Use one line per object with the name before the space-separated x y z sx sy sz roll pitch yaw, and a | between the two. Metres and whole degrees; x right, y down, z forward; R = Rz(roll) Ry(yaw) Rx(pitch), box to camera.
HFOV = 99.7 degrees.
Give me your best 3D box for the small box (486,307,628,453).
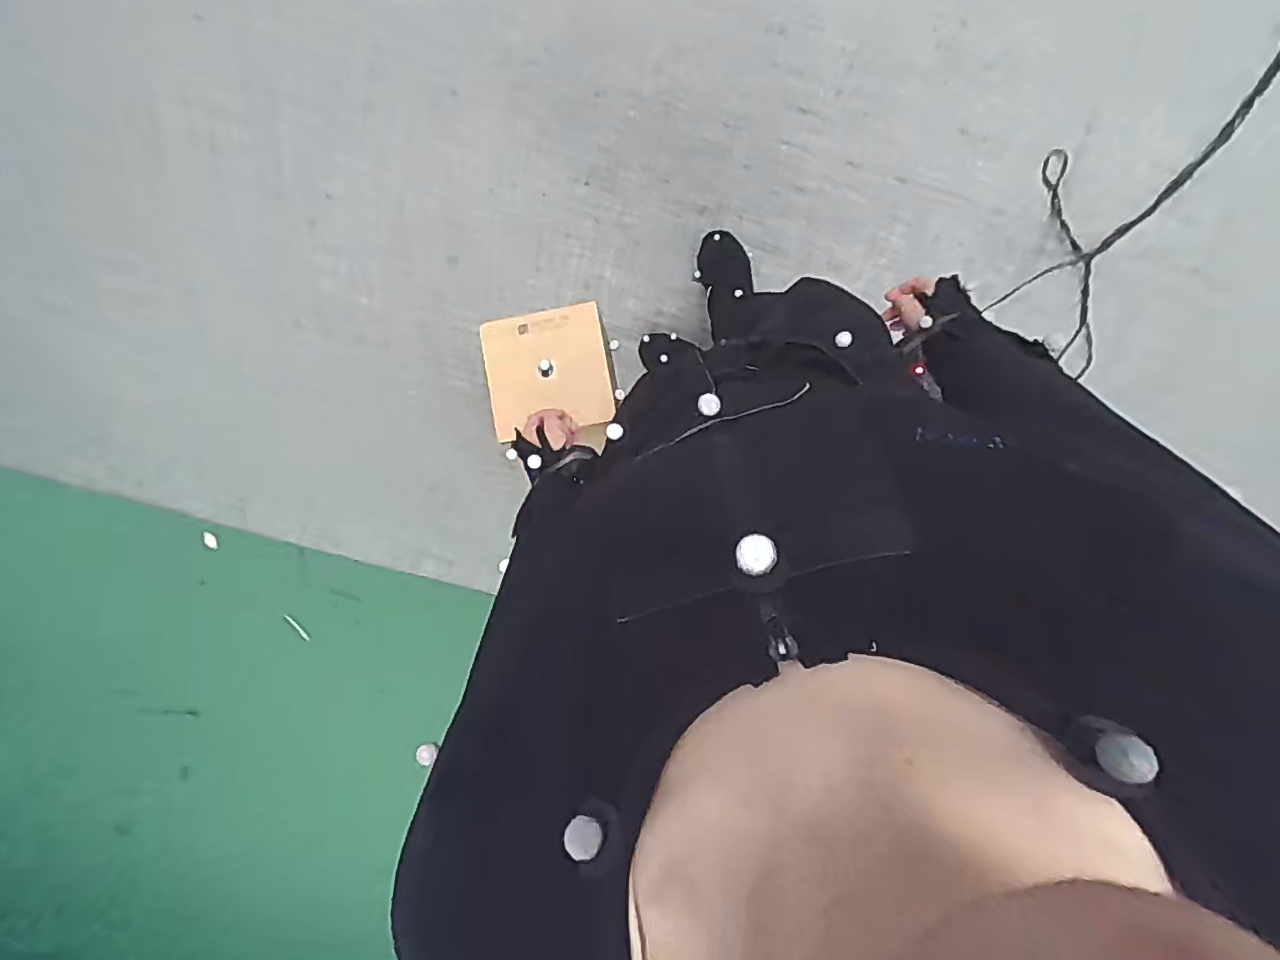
small box | -0.117 -0.145 0.805 0.168 0.179 0.176 -11 88 2
